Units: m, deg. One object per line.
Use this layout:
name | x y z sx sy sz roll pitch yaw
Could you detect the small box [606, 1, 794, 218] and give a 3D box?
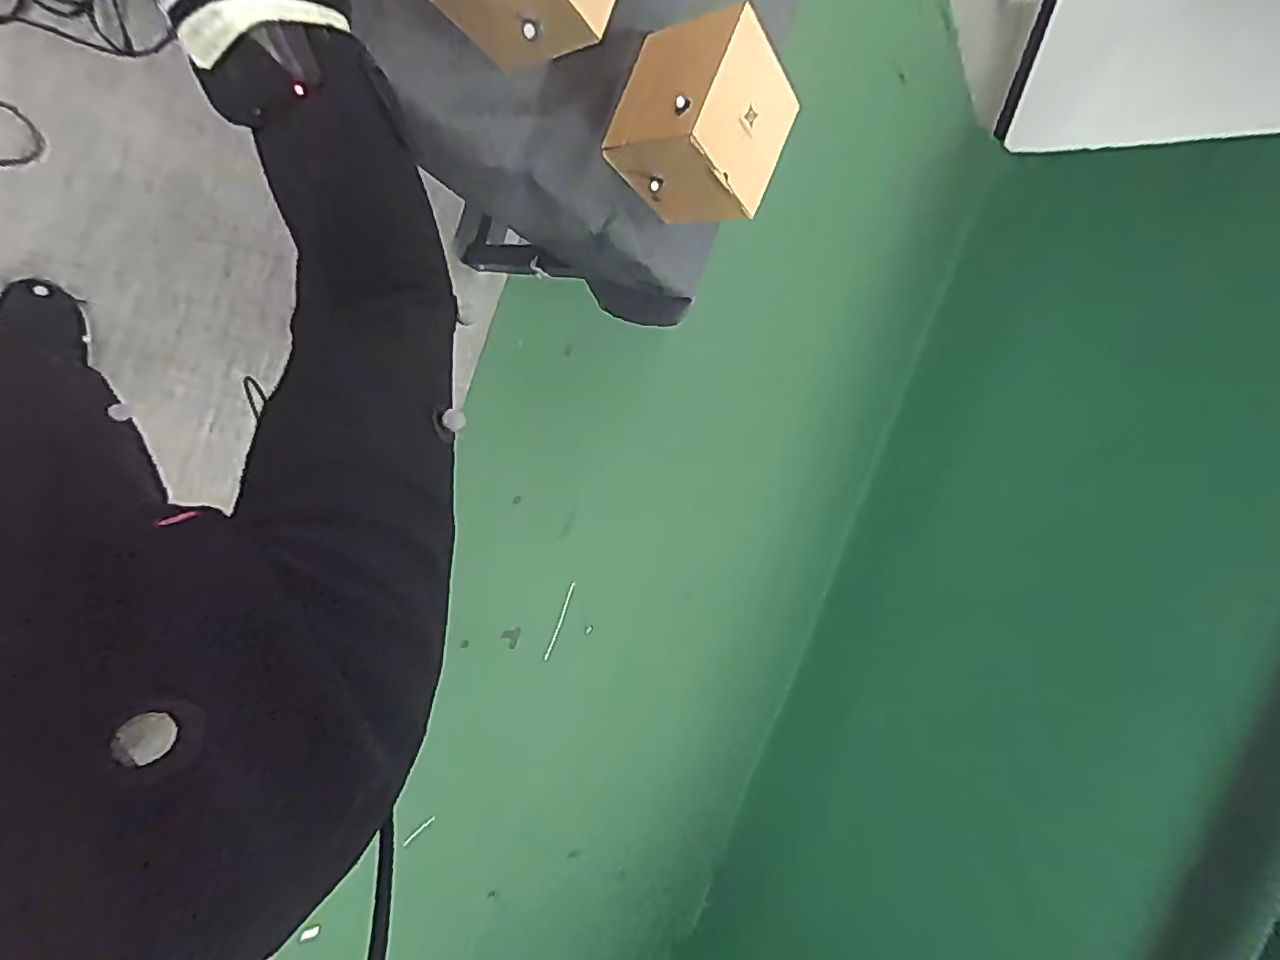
small box | 0.080 -0.491 0.747 0.168 0.176 0.179 22 91 -50
